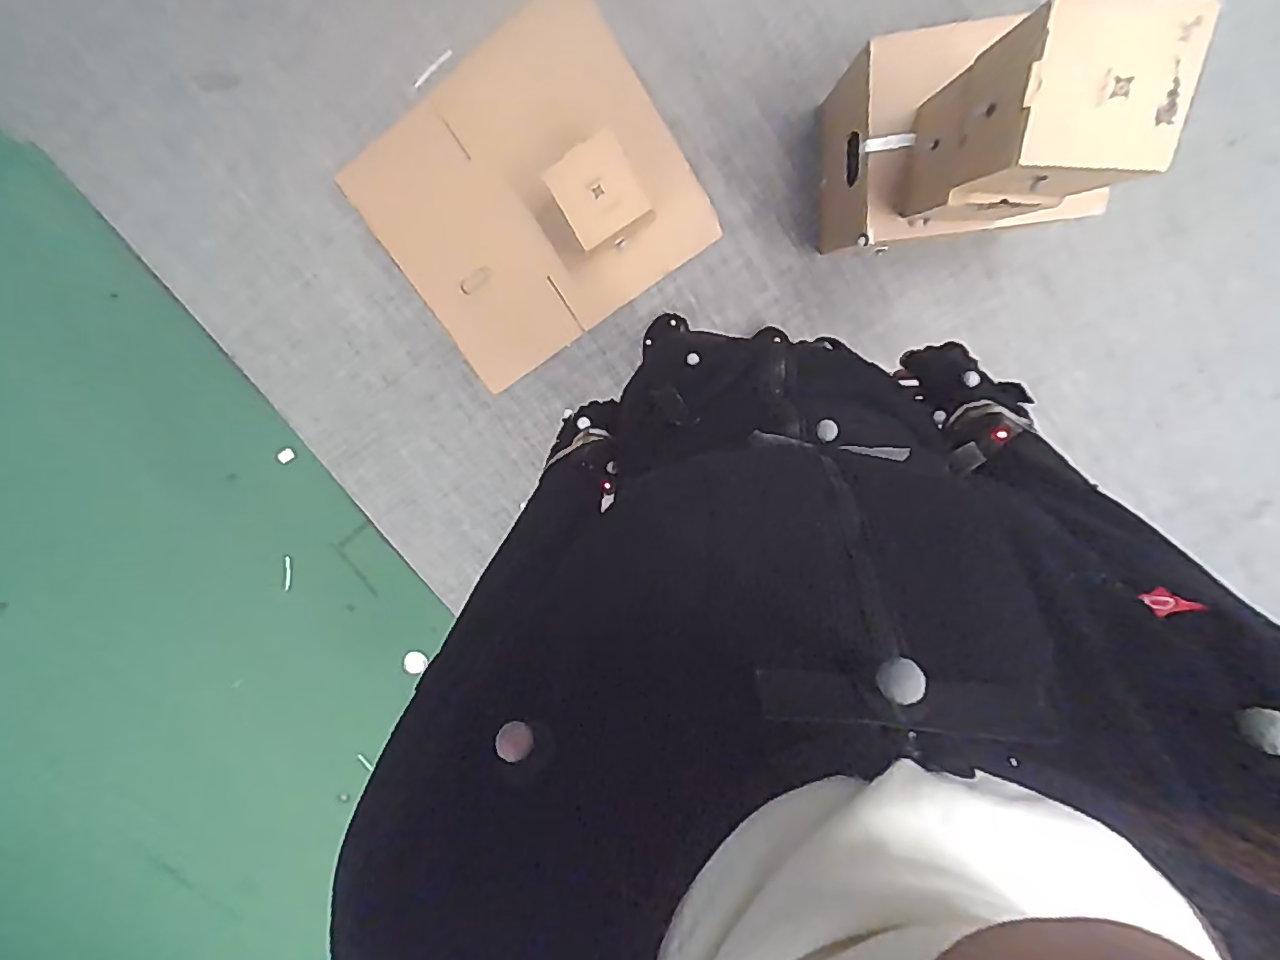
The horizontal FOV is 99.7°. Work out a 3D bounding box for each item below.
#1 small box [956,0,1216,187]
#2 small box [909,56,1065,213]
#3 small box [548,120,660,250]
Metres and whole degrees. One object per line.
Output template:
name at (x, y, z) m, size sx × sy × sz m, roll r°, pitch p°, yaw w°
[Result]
small box at (0.531, -0.475, 0.675) m, size 0.179 × 0.176 × 0.168 m, roll 1°, pitch 108°, yaw 3°
small box at (0.537, -0.516, 0.831) m, size 0.168 × 0.176 × 0.179 m, roll 2°, pitch 109°, yaw 4°
small box at (-0.069, -0.617, 1.159) m, size 0.168 × 0.176 × 0.179 m, roll -29°, pitch 105°, yaw 14°
